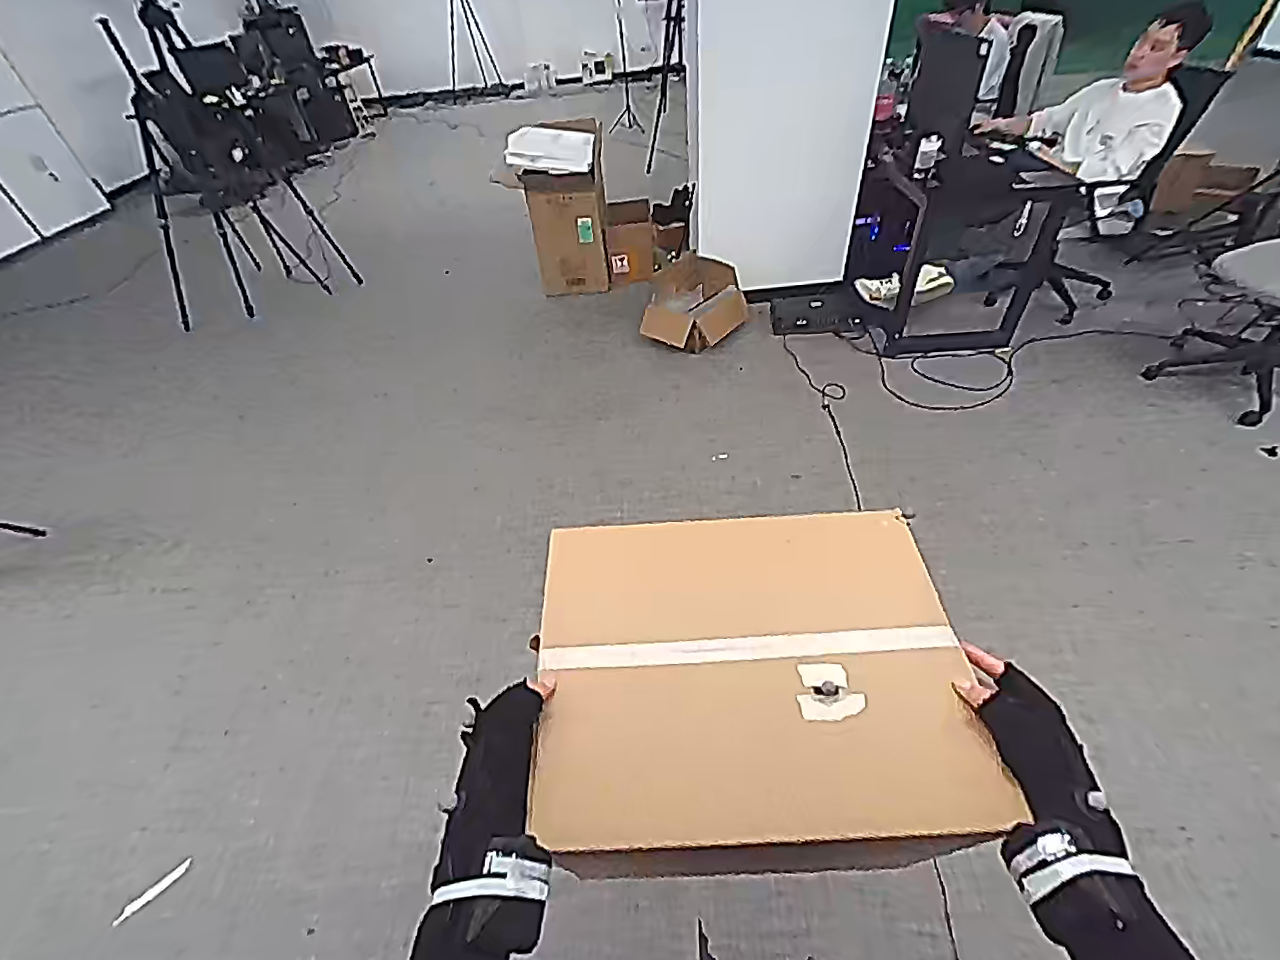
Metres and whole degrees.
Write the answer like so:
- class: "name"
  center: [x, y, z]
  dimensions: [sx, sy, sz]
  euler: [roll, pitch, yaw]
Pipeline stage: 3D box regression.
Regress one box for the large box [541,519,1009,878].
- class: "large box"
  center: [0.112, 0.271, 0.658]
  dimensions: [0.408, 0.320, 0.320]
  euler: [-3, 50, 1]
